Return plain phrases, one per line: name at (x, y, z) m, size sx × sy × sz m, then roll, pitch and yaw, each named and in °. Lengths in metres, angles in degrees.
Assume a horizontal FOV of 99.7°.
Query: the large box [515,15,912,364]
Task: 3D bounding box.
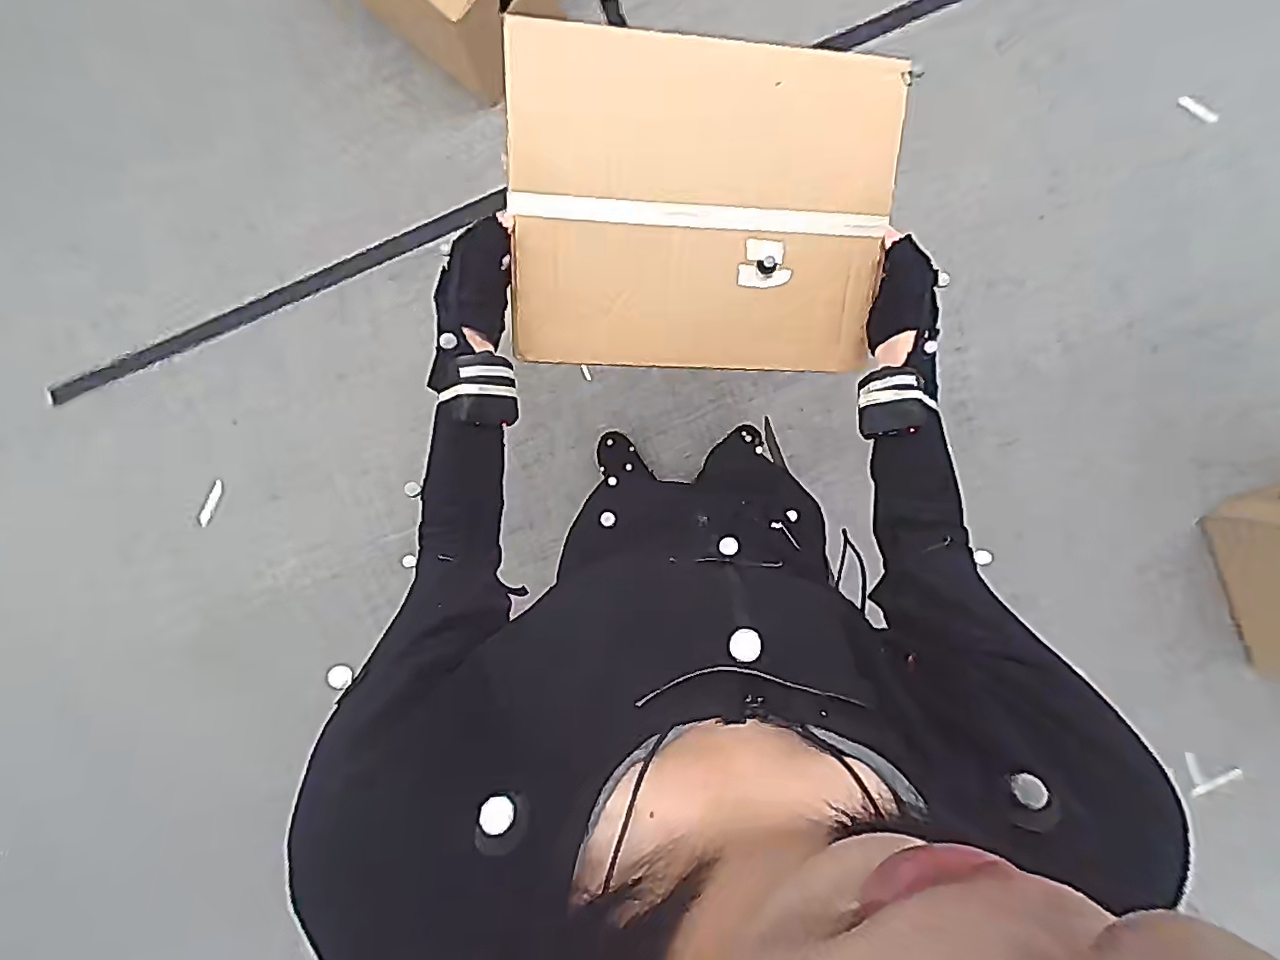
large box at (0.056, -0.323, 0.703) m, size 0.408 × 0.320 × 0.320 m, roll 0°, pitch 107°, yaw -8°
